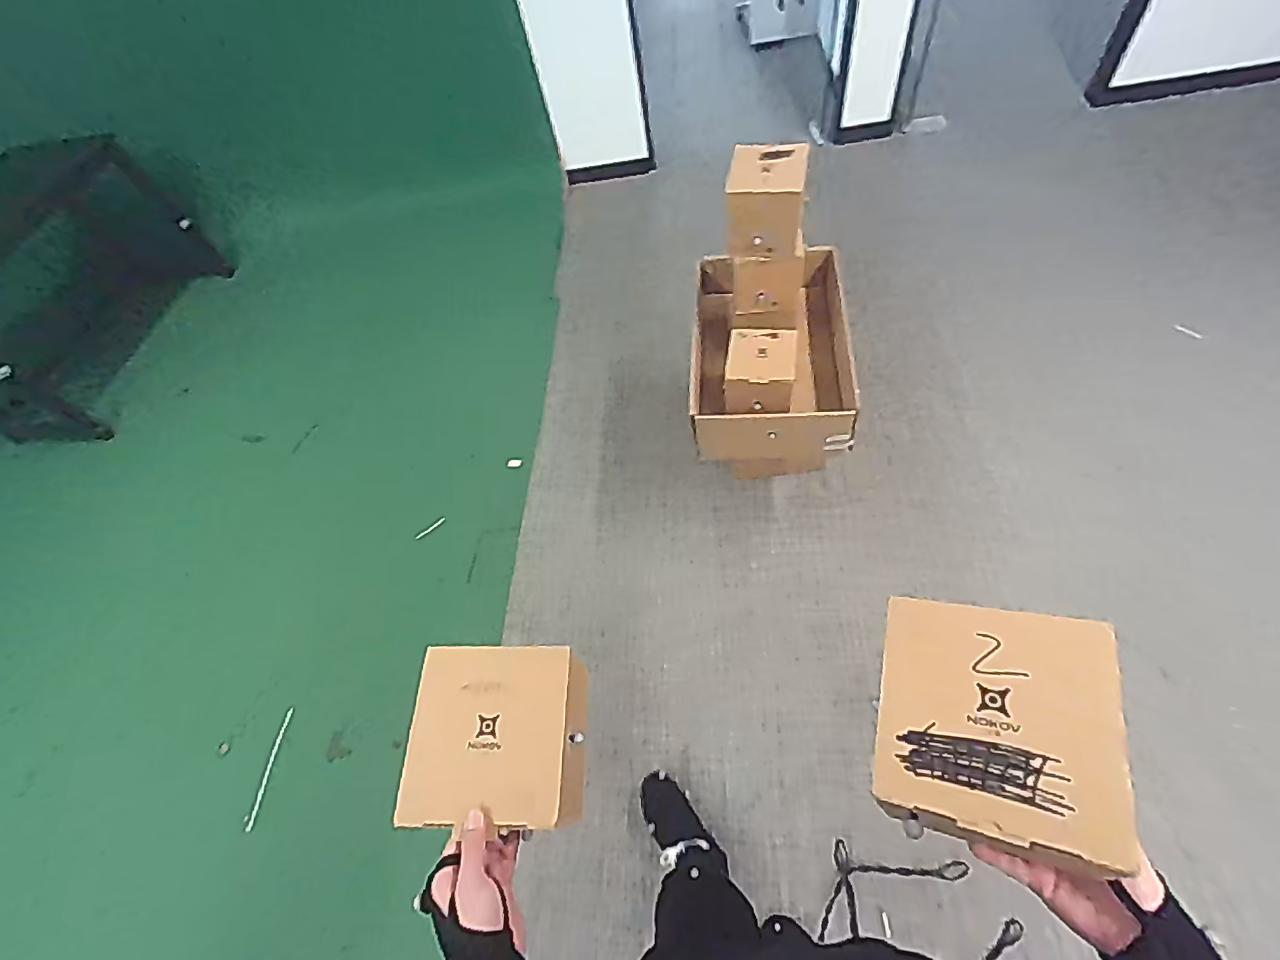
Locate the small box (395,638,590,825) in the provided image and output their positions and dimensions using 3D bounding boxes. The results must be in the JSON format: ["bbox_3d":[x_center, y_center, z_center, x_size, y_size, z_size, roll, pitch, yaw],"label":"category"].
[{"bbox_3d":[-0.155,0.296,0.639,0.168,0.176,0.179,0,60,3],"label":"small box"}]

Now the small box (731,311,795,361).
[{"bbox_3d":[0.345,-0.463,1.539,0.168,0.176,0.179,-2,59,11],"label":"small box"}]

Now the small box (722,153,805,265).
[{"bbox_3d":[0.287,-0.633,1.267,0.168,0.176,0.179,7,62,15],"label":"small box"}]

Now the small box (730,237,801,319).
[{"bbox_3d":[0.318,-0.545,1.402,0.168,0.176,0.179,-2,59,9],"label":"small box"}]
